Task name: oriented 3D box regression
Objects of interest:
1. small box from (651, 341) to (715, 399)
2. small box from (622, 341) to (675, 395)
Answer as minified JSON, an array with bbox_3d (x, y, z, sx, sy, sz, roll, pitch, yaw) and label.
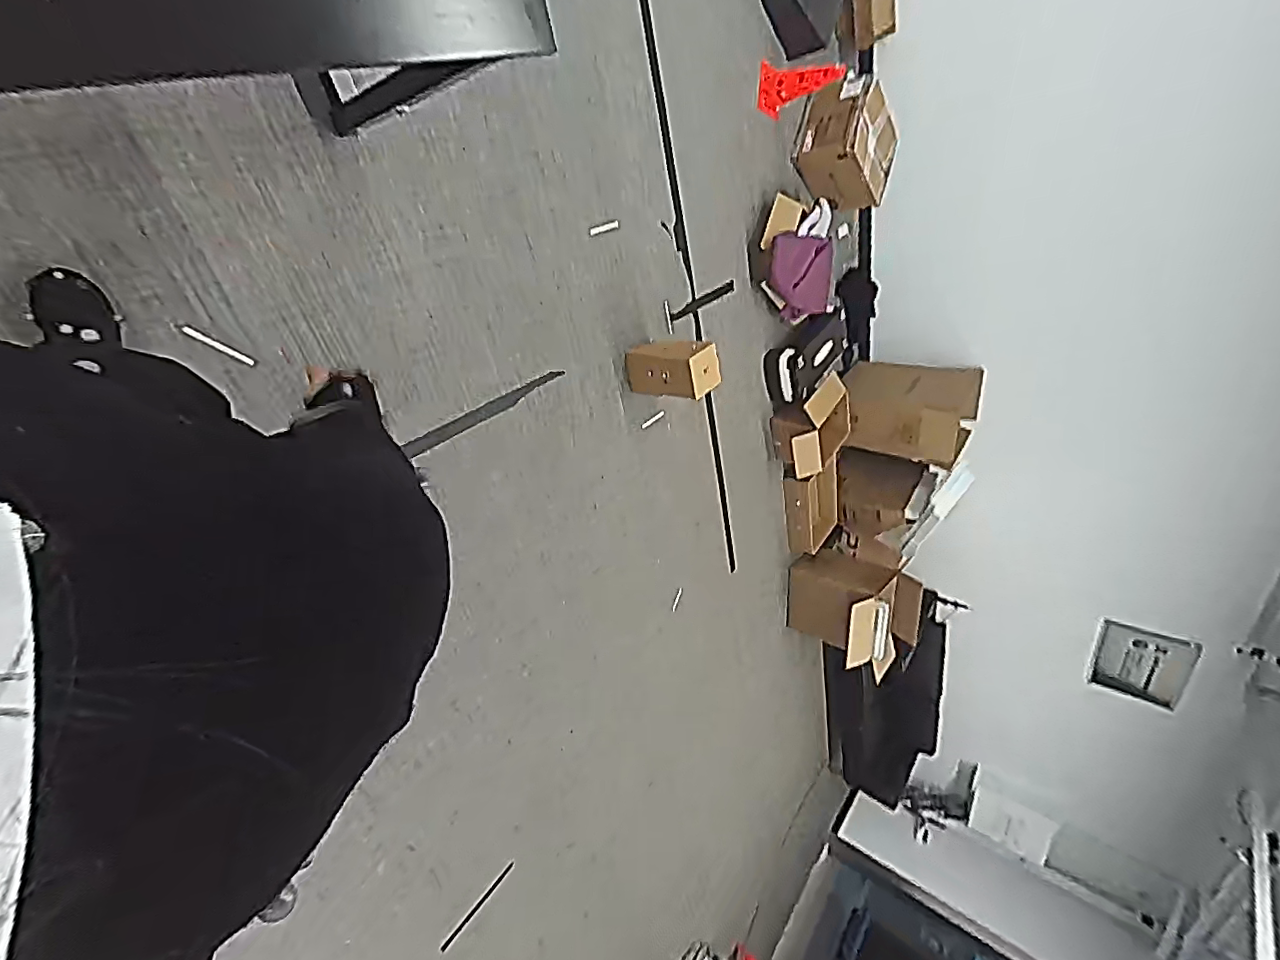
[{"bbox_3d":[0.168,-0.436,2.107,0.179,0.176,0.168,-40,128,-34],"label":"small box"},{"bbox_3d":[0.046,-0.463,2.211,0.168,0.176,0.179,-36,128,-38],"label":"small box"}]
